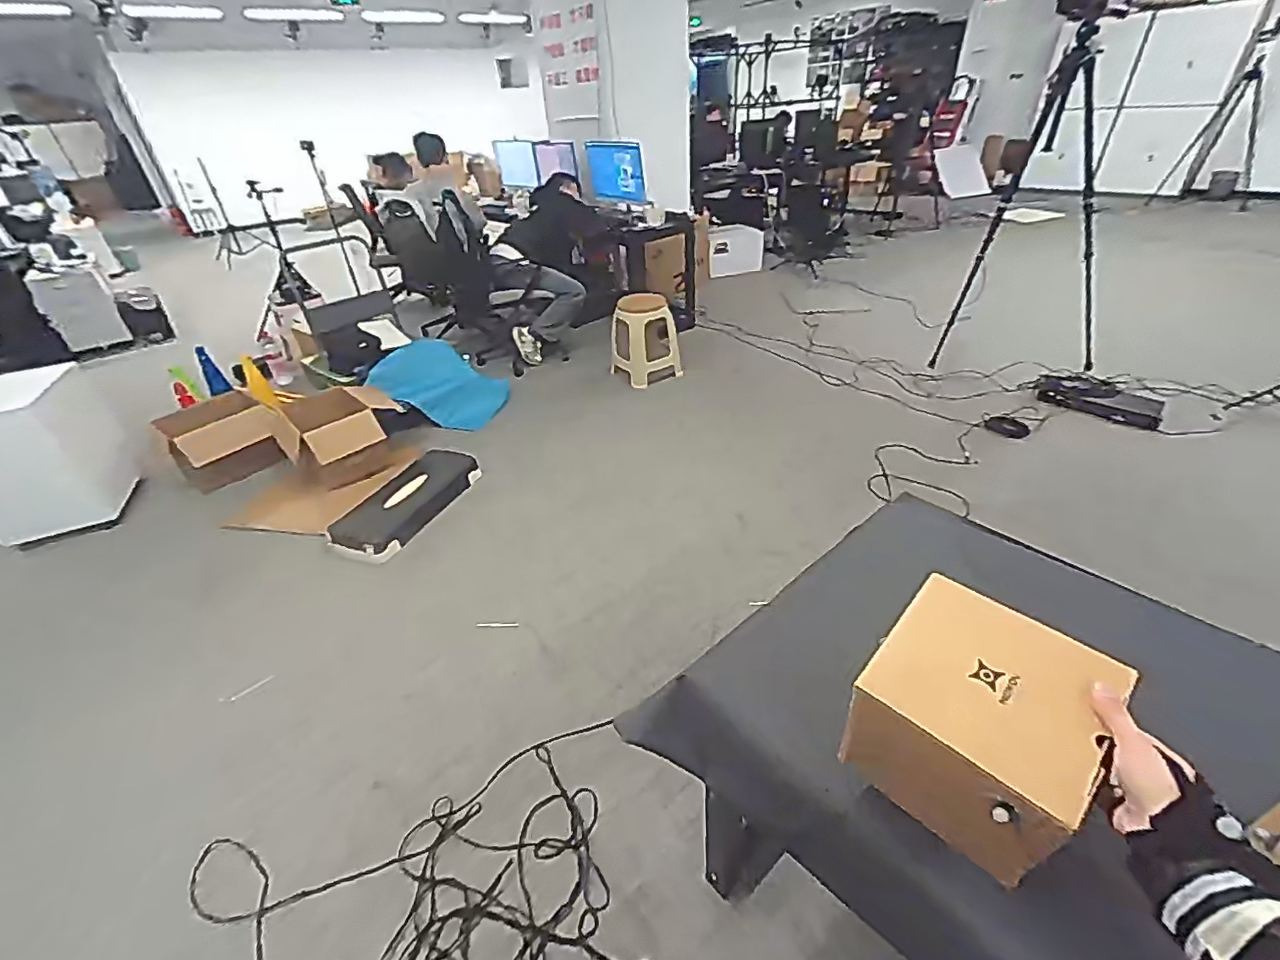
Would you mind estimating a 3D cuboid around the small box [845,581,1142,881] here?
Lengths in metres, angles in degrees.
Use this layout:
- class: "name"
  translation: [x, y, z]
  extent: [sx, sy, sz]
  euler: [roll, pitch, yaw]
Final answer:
- class: "small box"
  translation: [0.322, 0.240, 0.525]
  extent: [0.179, 0.176, 0.168]
  euler: [29, 54, 35]
